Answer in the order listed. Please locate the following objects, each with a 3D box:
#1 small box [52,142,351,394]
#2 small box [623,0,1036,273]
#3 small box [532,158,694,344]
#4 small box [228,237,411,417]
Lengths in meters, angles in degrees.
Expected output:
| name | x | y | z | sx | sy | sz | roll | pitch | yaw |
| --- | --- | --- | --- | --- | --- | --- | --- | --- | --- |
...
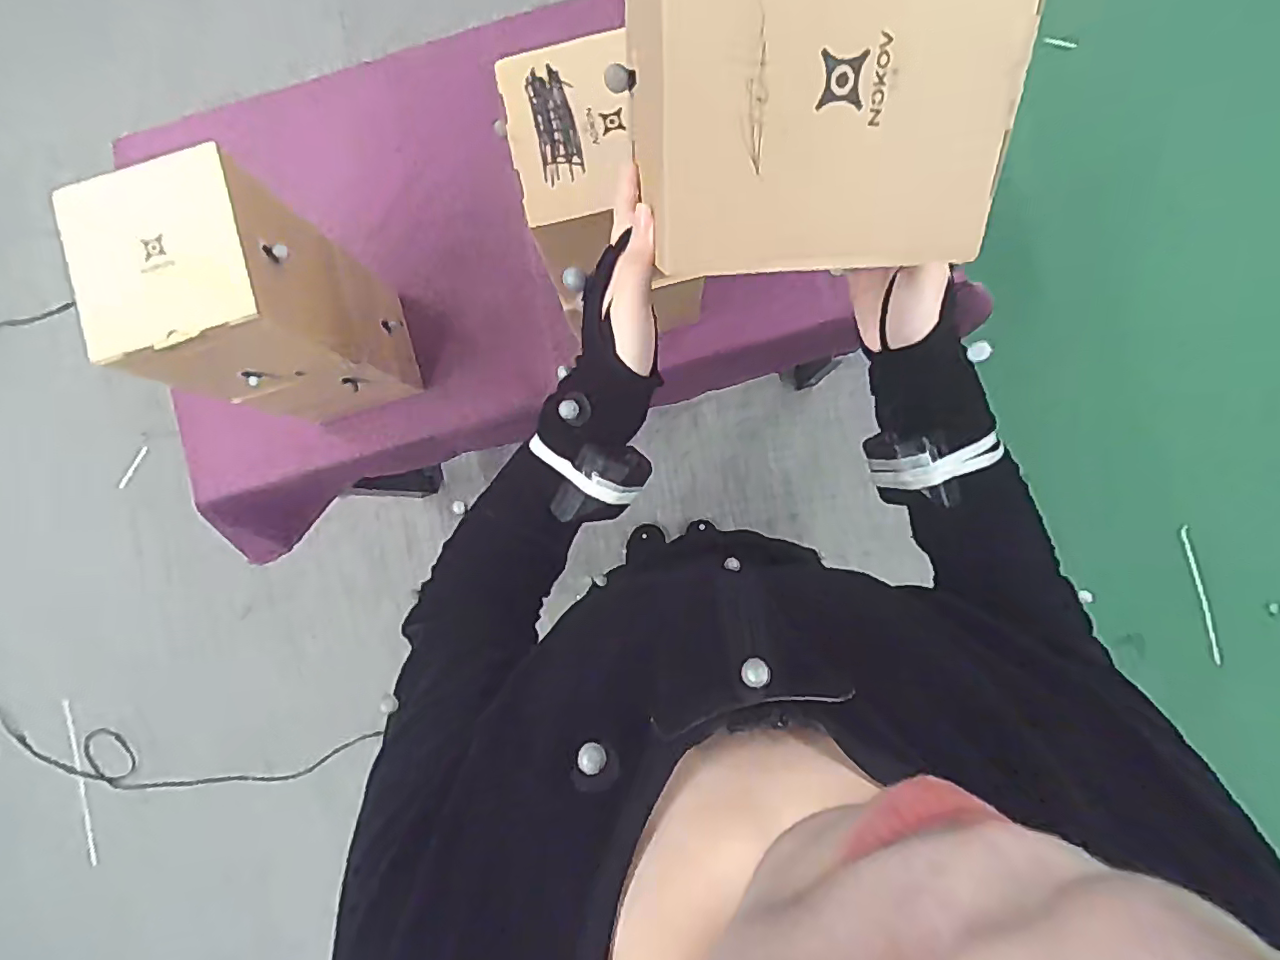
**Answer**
| name | x | y | z | sx | sy | sz | roll | pitch | yaw |
| --- | --- | --- | --- | --- | --- | --- | --- | --- | --- |
| small box | -0.450 | -0.210 | 0.583 | 0.168 | 0.176 | 0.179 | -16 | 87 | 1 |
| small box | 0.084 | -0.223 | 0.321 | 0.179 | 0.176 | 0.168 | -3 | 120 | -5 |
| small box | -0.028 | -0.300 | 0.734 | 0.179 | 0.176 | 0.168 | -14 | 87 | 1 |
| small box | -0.439 | -0.197 | 0.746 | 0.179 | 0.176 | 0.168 | -16 | 86 | 1 |
